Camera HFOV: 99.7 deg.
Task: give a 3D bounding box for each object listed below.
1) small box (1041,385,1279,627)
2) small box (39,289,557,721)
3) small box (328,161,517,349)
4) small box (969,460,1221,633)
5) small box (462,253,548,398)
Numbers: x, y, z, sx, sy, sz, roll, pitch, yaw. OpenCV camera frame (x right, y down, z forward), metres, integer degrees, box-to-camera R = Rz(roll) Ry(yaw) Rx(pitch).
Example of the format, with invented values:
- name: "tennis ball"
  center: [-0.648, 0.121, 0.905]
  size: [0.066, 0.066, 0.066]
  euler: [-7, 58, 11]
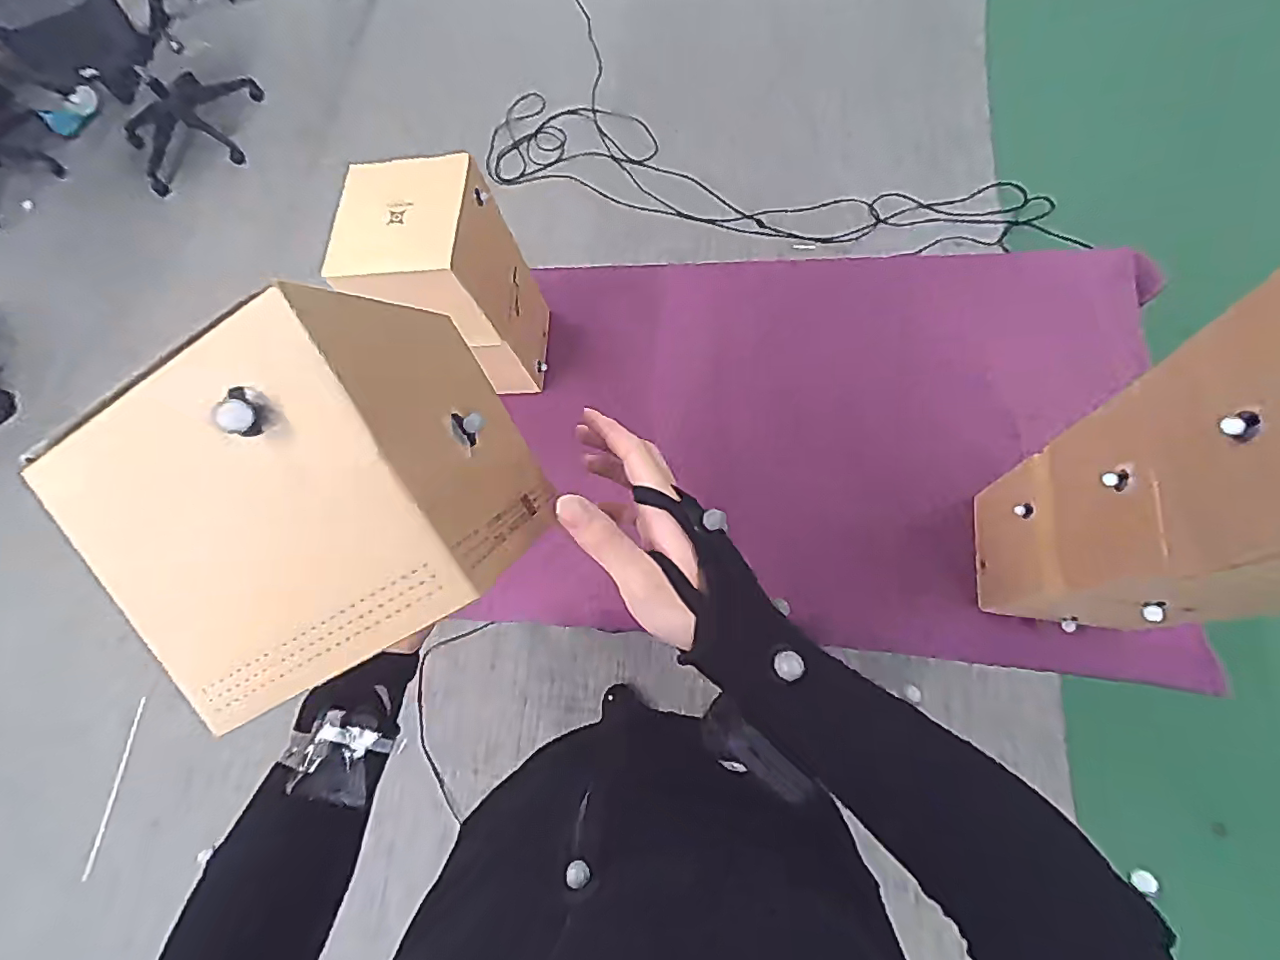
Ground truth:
- name: "small box"
  center: [0.511, 0.032, 0.508]
  size: [0.168, 0.176, 0.179]
  euler: [6, 72, 12]
- name: "small box"
  center: [-0.177, 0.009, 0.340]
  size: [0.179, 0.168, 0.176]
  euler: [-29, 97, 10]
- name: "small box"
  center: [-0.279, -0.290, 0.735]
  size: [0.168, 0.176, 0.179]
  euler: [0, 71, 8]
- name: "small box"
  center: [0.532, 0.089, 0.659]
  size: [0.179, 0.176, 0.168]
  euler: [6, 71, 11]
- name: "small box"
  center: [-0.261, -0.244, 0.889]
  size: [0.179, 0.176, 0.168]
  euler: [-1, 71, 9]
